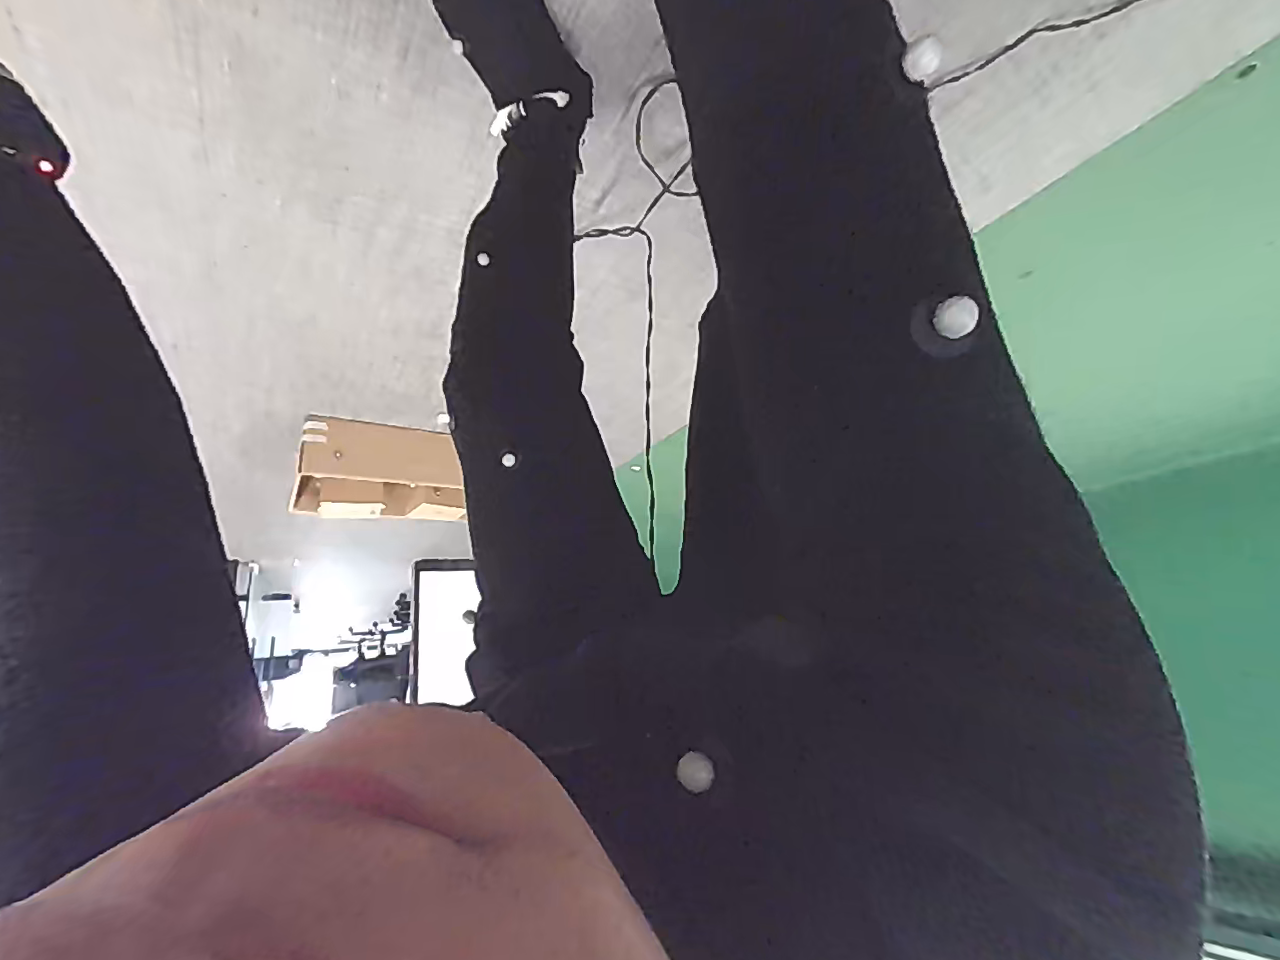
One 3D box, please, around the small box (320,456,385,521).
[{"bbox_3d":[-0.944,0.028,1.776,0.179,0.176,0.168,4,158,-30],"label":"small box"}]
